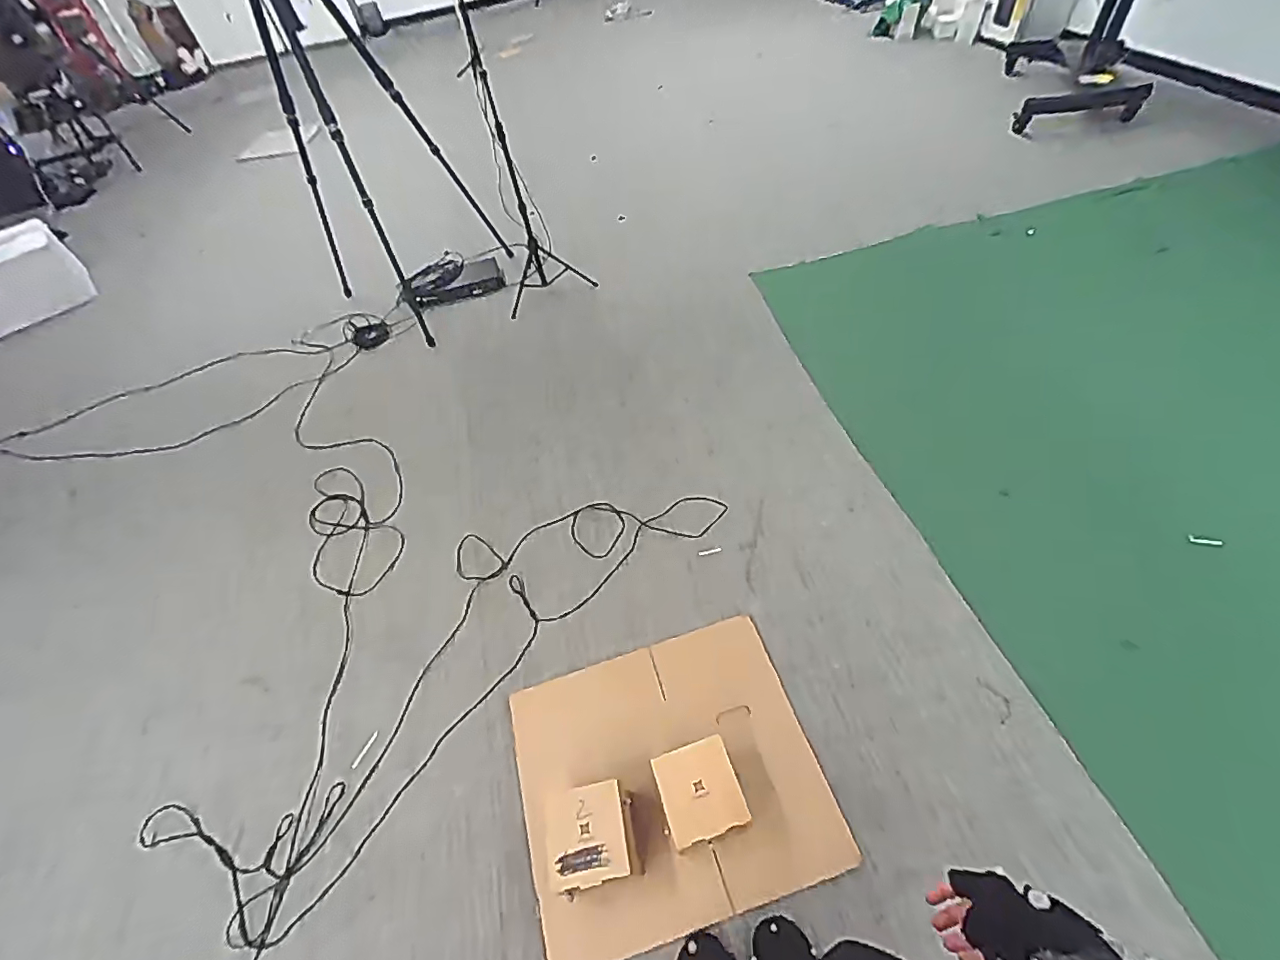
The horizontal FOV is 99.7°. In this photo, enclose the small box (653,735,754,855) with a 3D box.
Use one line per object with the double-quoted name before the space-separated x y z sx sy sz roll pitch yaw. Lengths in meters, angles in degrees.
"small box" 0.136 0.698 1.194 0.168 0.176 0.179 -19 52 -6
